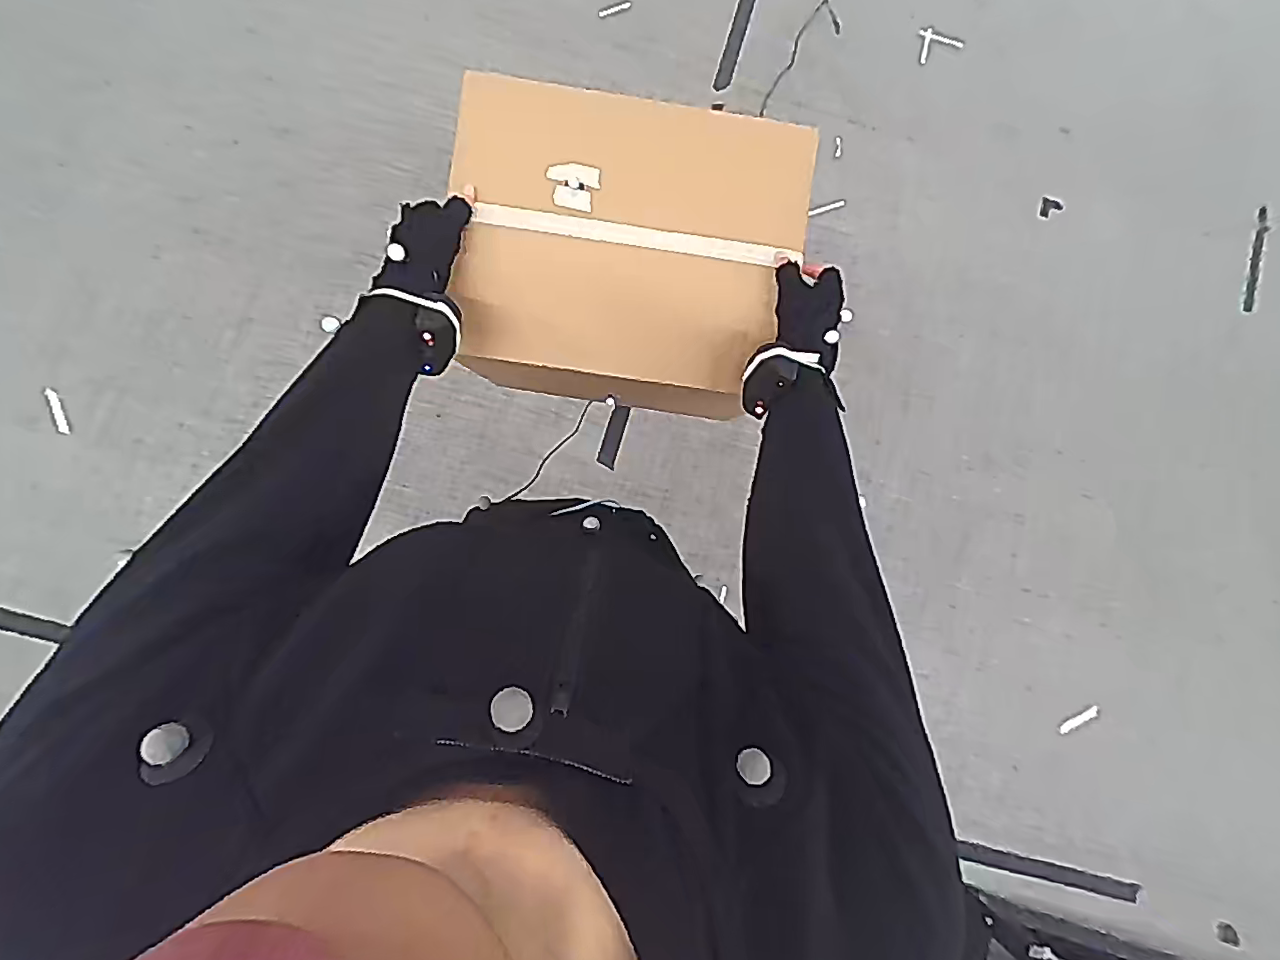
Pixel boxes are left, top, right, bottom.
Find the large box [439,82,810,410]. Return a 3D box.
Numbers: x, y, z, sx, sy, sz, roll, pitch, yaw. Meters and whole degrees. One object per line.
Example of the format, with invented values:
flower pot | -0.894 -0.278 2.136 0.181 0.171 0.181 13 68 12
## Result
large box | -0.019 -0.283 0.770 0.408 0.320 0.320 8 91 -2
